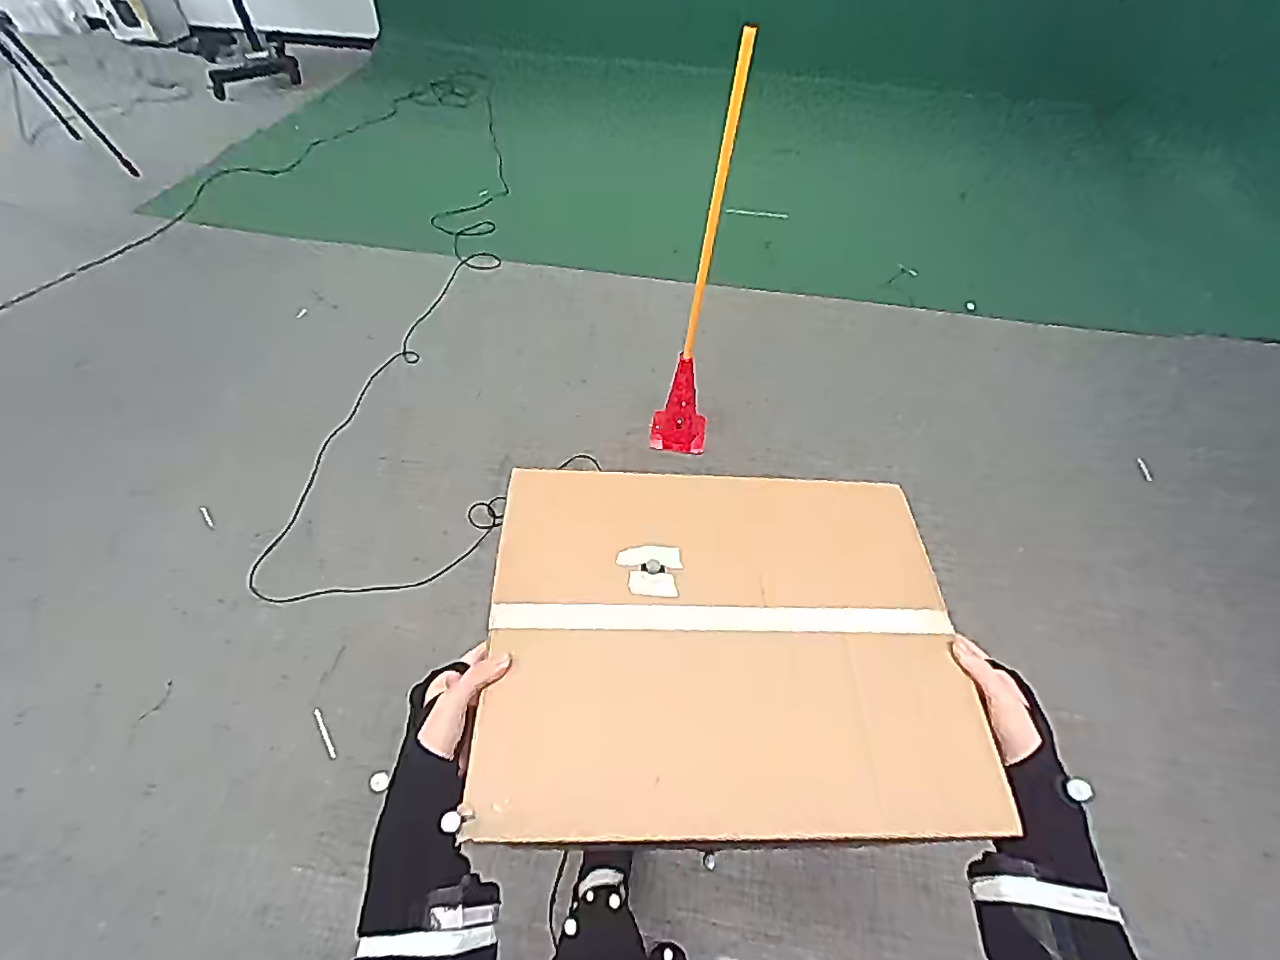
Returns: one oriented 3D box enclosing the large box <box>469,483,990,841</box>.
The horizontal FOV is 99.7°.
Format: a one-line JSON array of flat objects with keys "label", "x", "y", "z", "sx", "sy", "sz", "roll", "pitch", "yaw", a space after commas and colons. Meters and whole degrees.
[{"label": "large box", "x": 0.063, "y": 0.214, "z": 0.606, "sx": 0.408, "sy": 0.320, "sz": 0.320, "roll": 1, "pitch": 55, "yaw": -3}]
